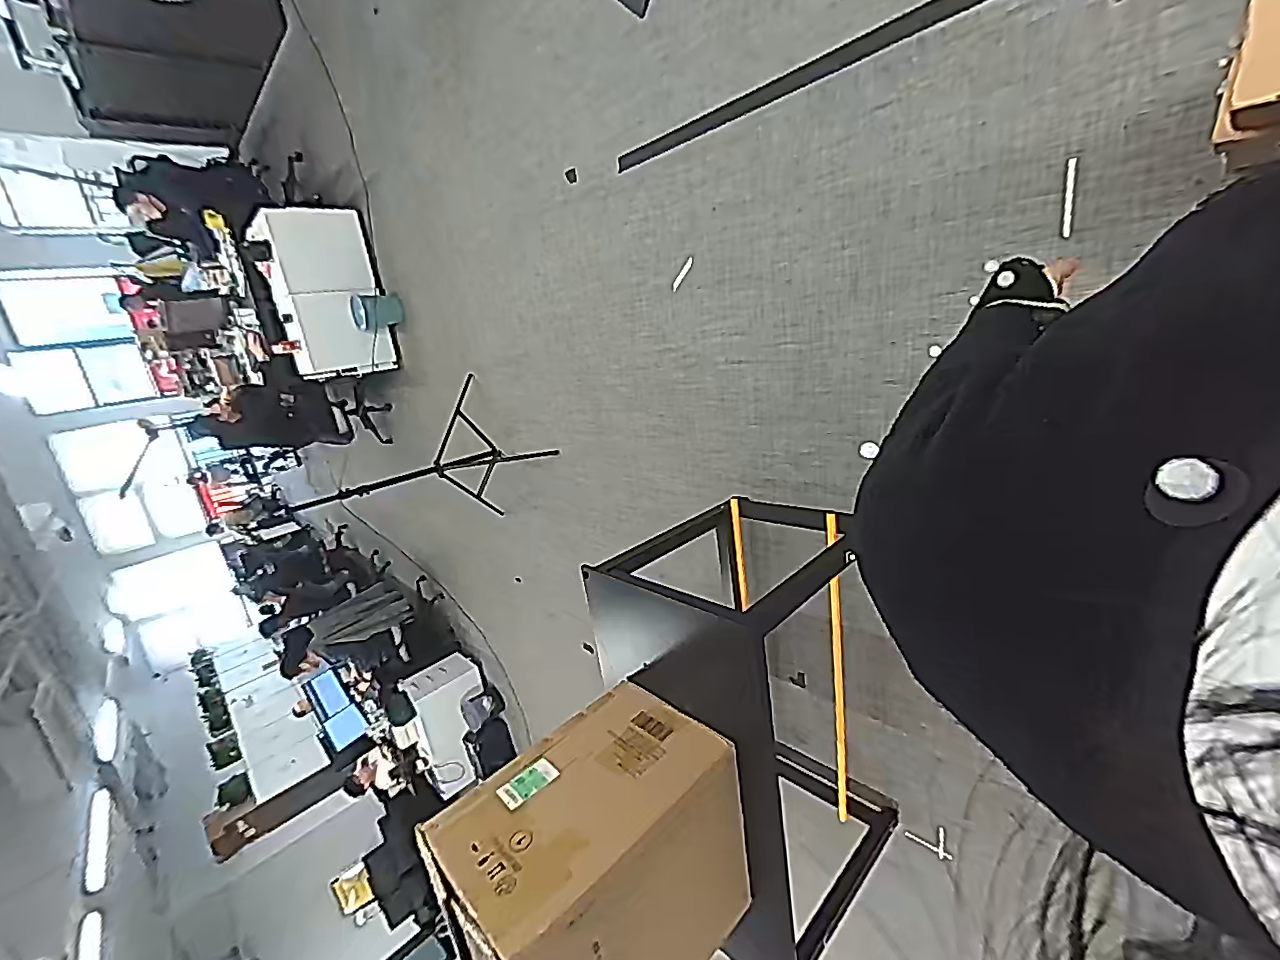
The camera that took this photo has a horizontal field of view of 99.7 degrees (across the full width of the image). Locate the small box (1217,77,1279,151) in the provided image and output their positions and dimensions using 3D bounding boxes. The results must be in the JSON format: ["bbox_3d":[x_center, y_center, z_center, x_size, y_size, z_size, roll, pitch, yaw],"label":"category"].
[{"bbox_3d":[0.799,-0.493,0.613,0.168,0.176,0.179,17,121,44],"label":"small box"}]

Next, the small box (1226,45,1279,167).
[{"bbox_3d":[1.029,-0.597,0.821,0.179,0.176,0.168,4,111,47],"label":"small box"}]

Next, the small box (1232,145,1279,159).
[{"bbox_3d":[0.915,-0.548,0.713,0.168,0.176,0.179,10,115,46],"label":"small box"}]

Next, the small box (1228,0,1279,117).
[{"bbox_3d":[0.686,-0.458,0.498,0.168,0.176,0.179,13,117,46],"label":"small box"}]
